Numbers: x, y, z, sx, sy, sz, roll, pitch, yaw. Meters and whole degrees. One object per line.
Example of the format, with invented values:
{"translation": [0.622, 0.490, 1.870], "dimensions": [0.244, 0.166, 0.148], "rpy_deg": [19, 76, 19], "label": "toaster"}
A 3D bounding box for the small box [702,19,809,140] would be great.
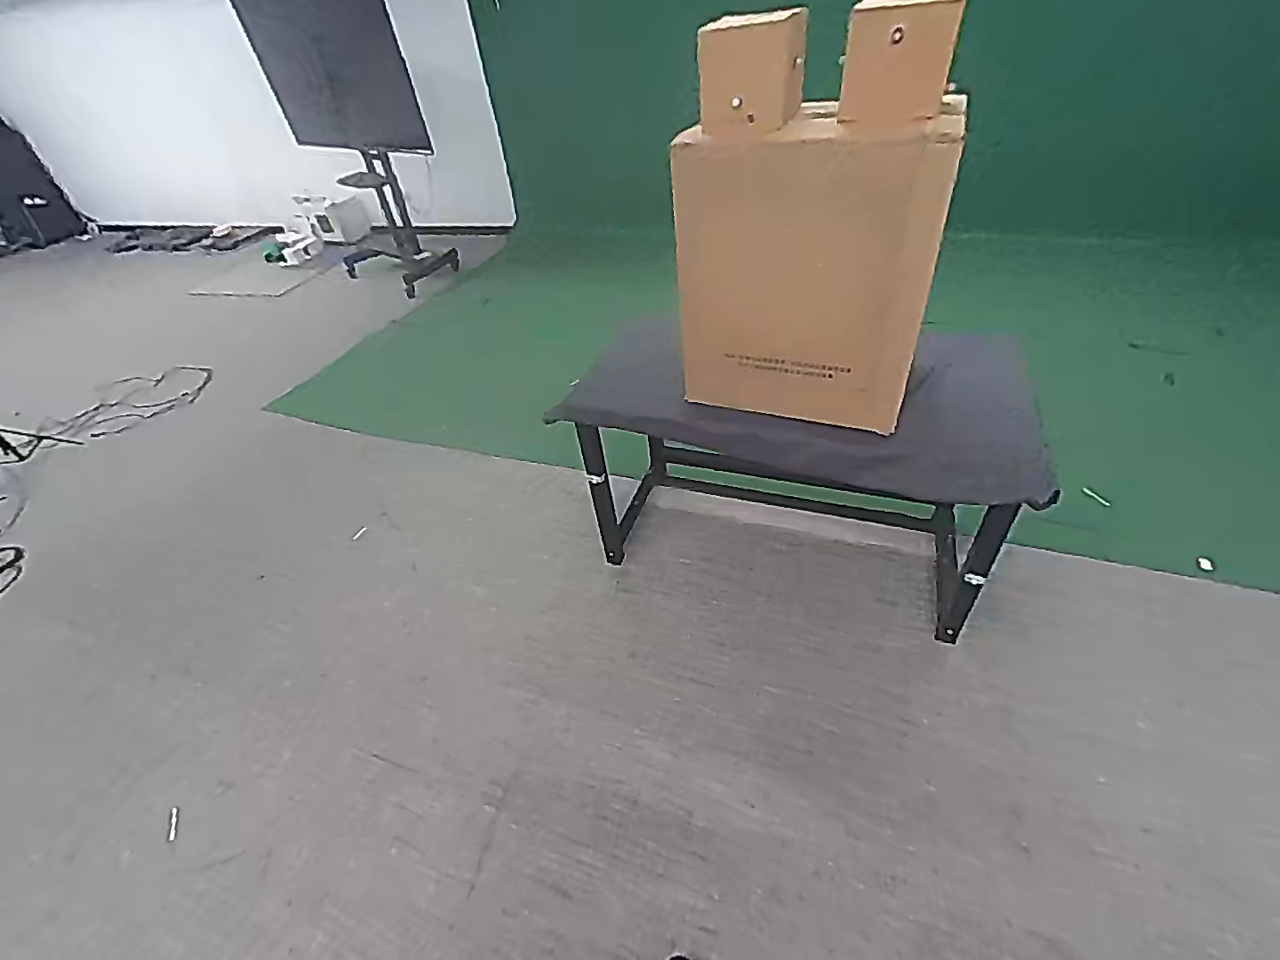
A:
{"translation": [0.231, -0.801, 1.087], "dimensions": [0.168, 0.176, 0.179], "rpy_deg": [12, 47, 23], "label": "small box"}

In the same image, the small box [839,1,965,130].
{"translation": [0.481, -0.766, 1.005], "dimensions": [0.179, 0.176, 0.168], "rpy_deg": [14, 48, 20], "label": "small box"}
